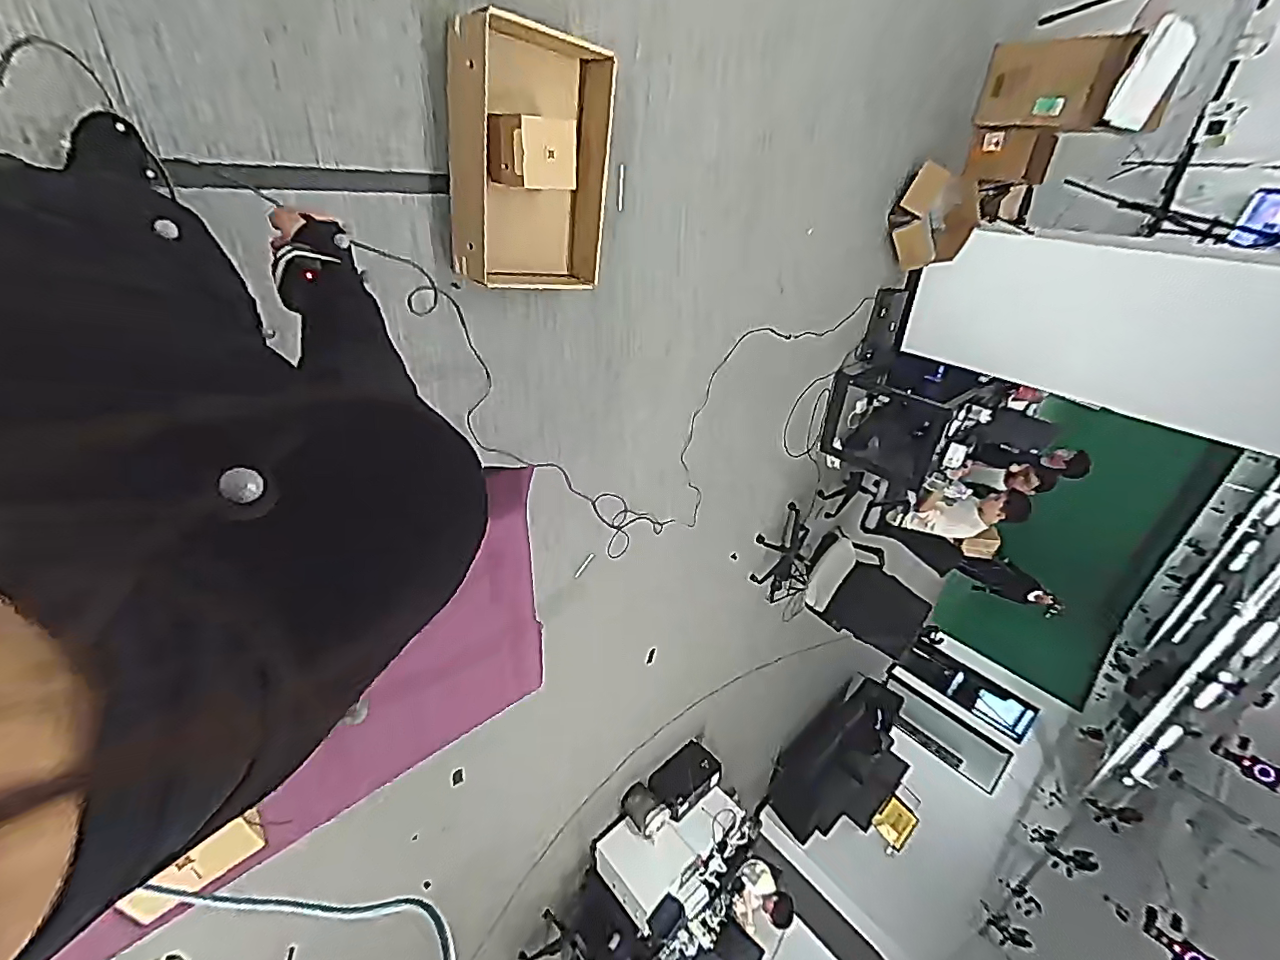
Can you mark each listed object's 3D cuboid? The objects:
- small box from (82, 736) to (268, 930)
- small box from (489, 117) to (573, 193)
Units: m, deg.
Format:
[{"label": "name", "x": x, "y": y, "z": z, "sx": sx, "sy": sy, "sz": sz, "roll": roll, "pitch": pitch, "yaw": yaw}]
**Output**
[{"label": "small box", "x": -0.736, "y": 0.545, "z": 0.859, "sx": 0.168, "sy": 0.176, "sz": 0.179, "roll": -28, "pitch": 133, "yaw": -33}, {"label": "small box", "x": -0.303, "y": -0.892, "z": 1.485, "sx": 0.179, "sy": 0.176, "sz": 0.168, "roll": -22, "pitch": 131, "yaw": -37}]
